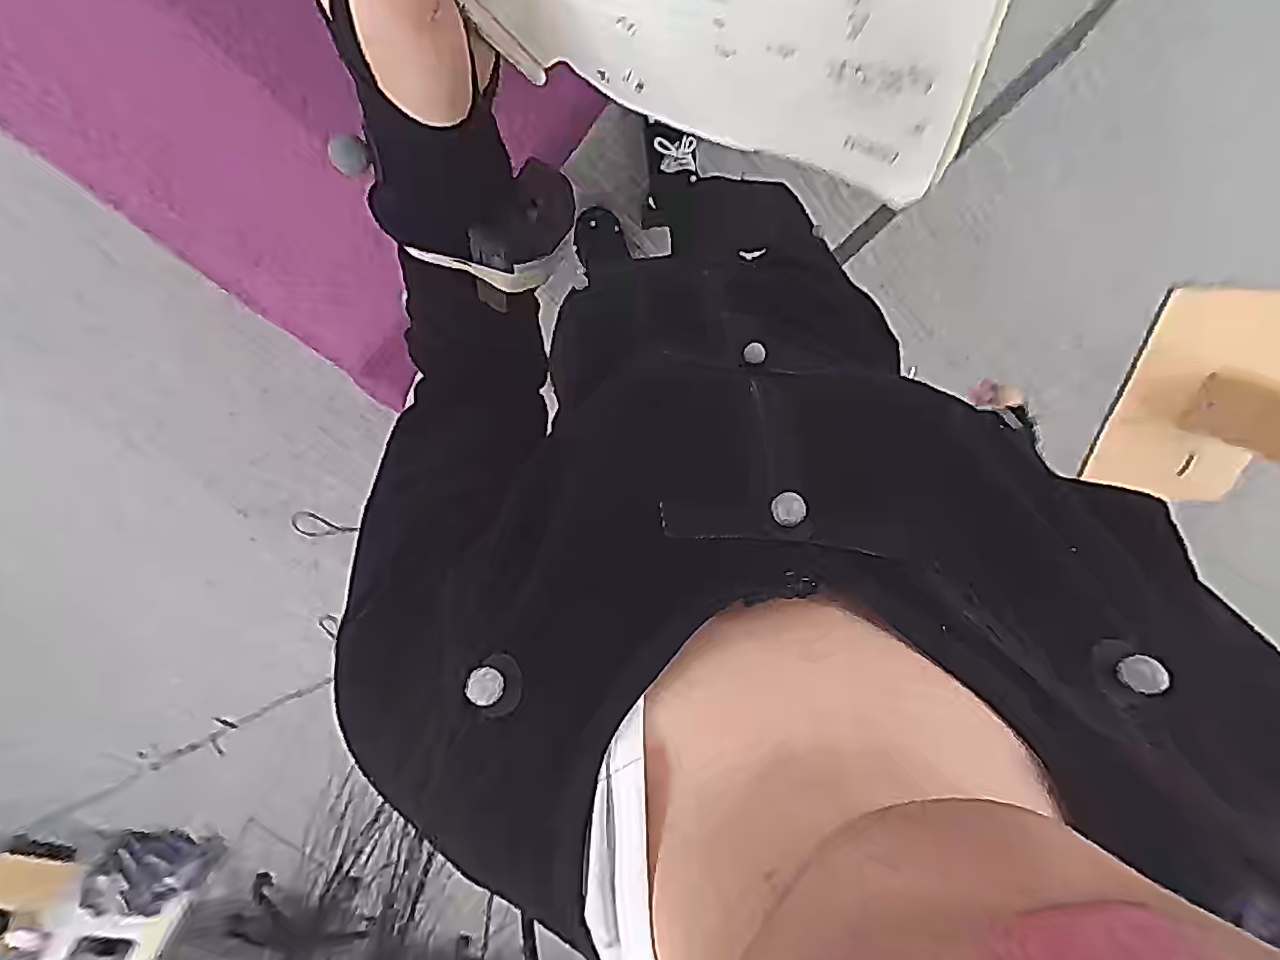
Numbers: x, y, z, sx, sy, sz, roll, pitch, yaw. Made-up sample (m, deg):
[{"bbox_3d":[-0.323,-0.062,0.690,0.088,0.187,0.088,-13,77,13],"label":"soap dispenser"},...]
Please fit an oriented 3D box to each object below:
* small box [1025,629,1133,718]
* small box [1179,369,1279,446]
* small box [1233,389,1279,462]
[{"bbox_3d":[1.349,0.592,1.673,0.179,0.176,0.168,36,110,-24],"label":"small box"},{"bbox_3d":[1.803,-0.217,1.629,0.168,0.176,0.179,2,121,-9],"label":"small box"},{"bbox_3d":[1.823,-0.139,1.487,0.168,0.176,0.179,4,120,-10],"label":"small box"}]
